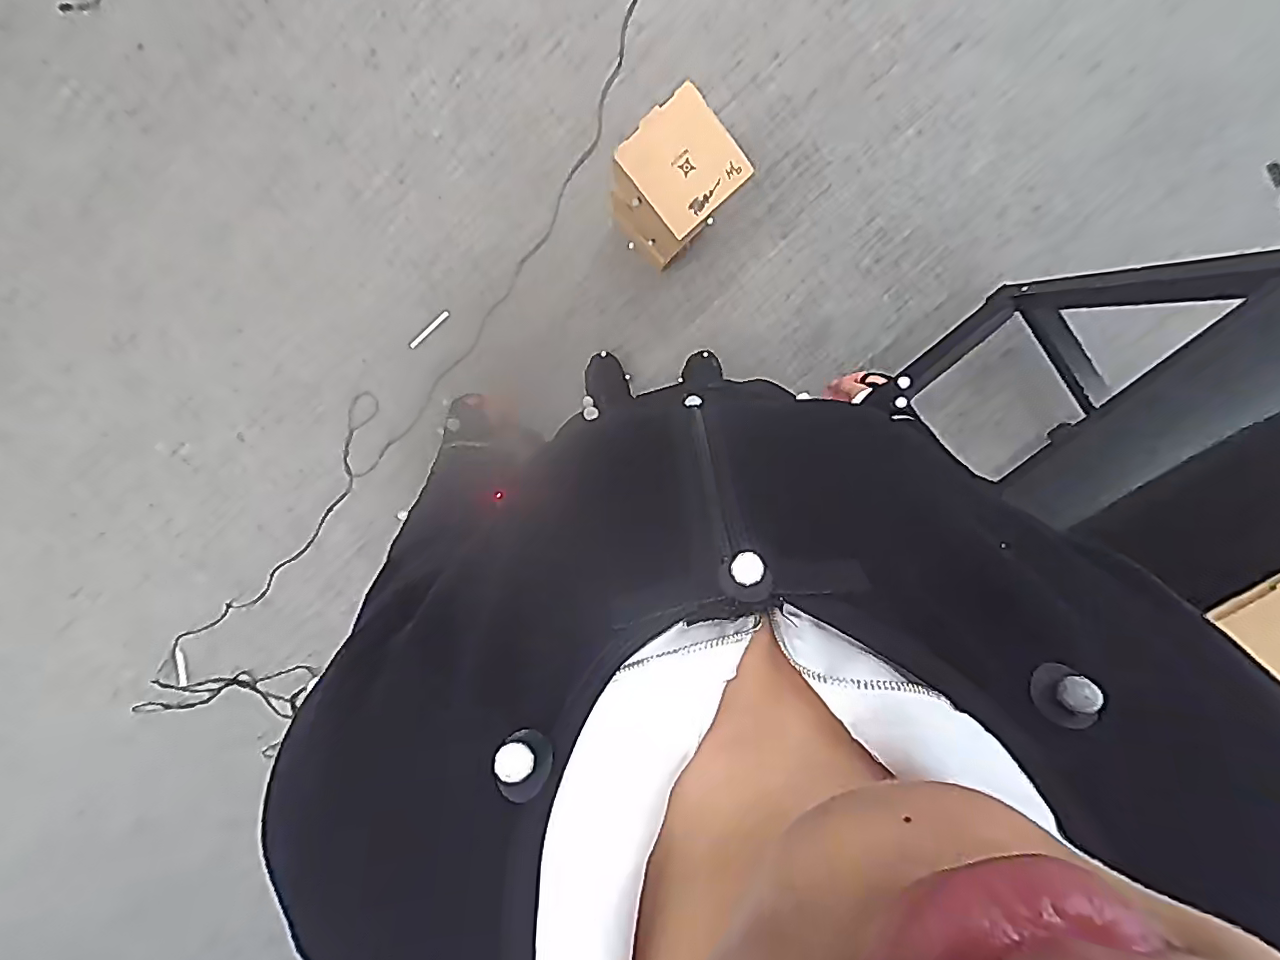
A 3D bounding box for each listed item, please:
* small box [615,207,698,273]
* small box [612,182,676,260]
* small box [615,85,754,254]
[{"bbox_3d":[0.057,-0.618,1.275,0.179,0.176,0.168,-43,101,10],"label":"small box"},{"bbox_3d":[0.061,-0.585,1.117,0.168,0.176,0.179,41,99,-11],"label":"small box"},{"bbox_3d":[0.071,-0.533,0.961,0.168,0.176,0.179,-40,101,9],"label":"small box"}]
